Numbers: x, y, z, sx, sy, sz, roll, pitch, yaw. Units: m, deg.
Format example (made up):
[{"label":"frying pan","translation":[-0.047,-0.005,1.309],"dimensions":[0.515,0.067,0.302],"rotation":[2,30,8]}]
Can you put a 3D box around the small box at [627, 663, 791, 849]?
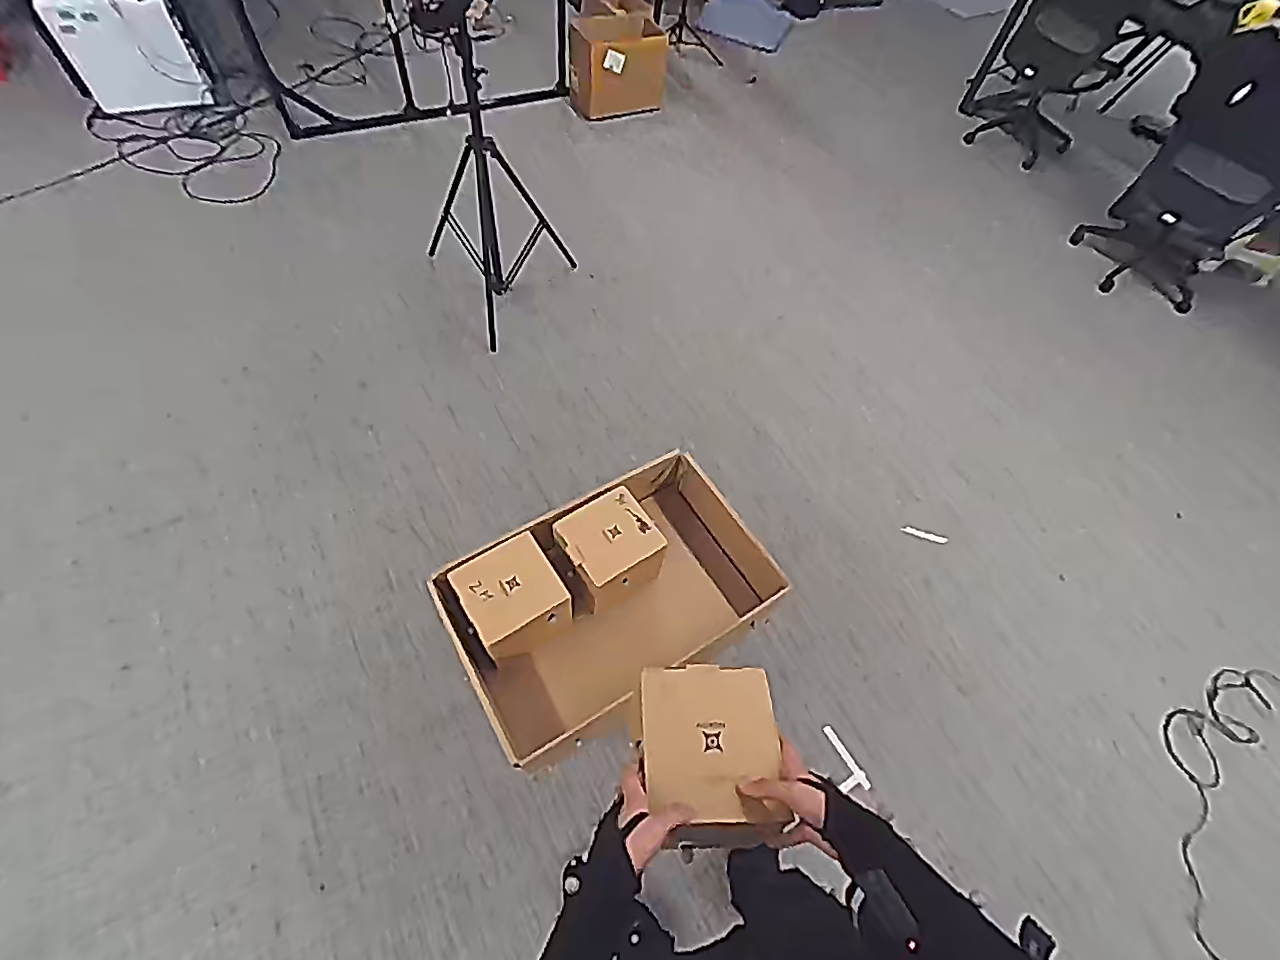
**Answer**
[{"label":"small box","translation":[0.073,0.356,0.697],"dimensions":[0.168,0.176,0.179],"rotation":[3,48,-6]}]
